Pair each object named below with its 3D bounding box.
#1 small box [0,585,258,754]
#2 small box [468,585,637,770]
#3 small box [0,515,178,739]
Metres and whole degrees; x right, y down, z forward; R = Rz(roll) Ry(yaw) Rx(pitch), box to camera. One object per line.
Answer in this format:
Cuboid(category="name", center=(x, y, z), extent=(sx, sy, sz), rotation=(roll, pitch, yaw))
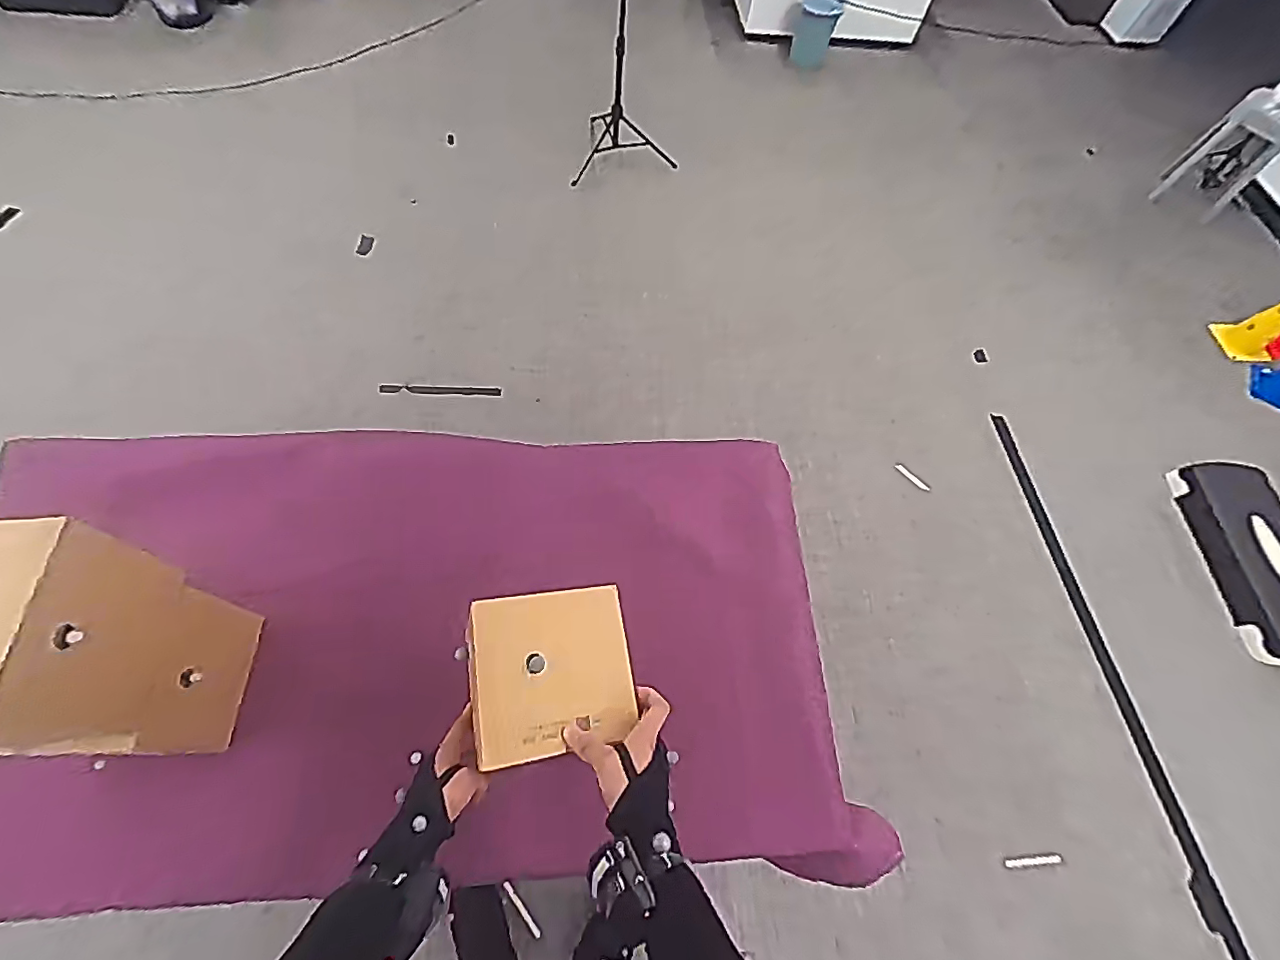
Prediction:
Cuboid(category="small box", center=(-0.607, 0.232, 0.654), extent=(0.168, 0.176, 0.179), rotation=(2, 63, -6))
Cuboid(category="small box", center=(-0.113, 0.238, 0.647), extent=(0.168, 0.179, 0.176), rotation=(-3, 65, -21))
Cuboid(category="small box", center=(-0.596, 0.148, 0.513), extent=(0.168, 0.176, 0.179), rotation=(-2, 63, -7))
